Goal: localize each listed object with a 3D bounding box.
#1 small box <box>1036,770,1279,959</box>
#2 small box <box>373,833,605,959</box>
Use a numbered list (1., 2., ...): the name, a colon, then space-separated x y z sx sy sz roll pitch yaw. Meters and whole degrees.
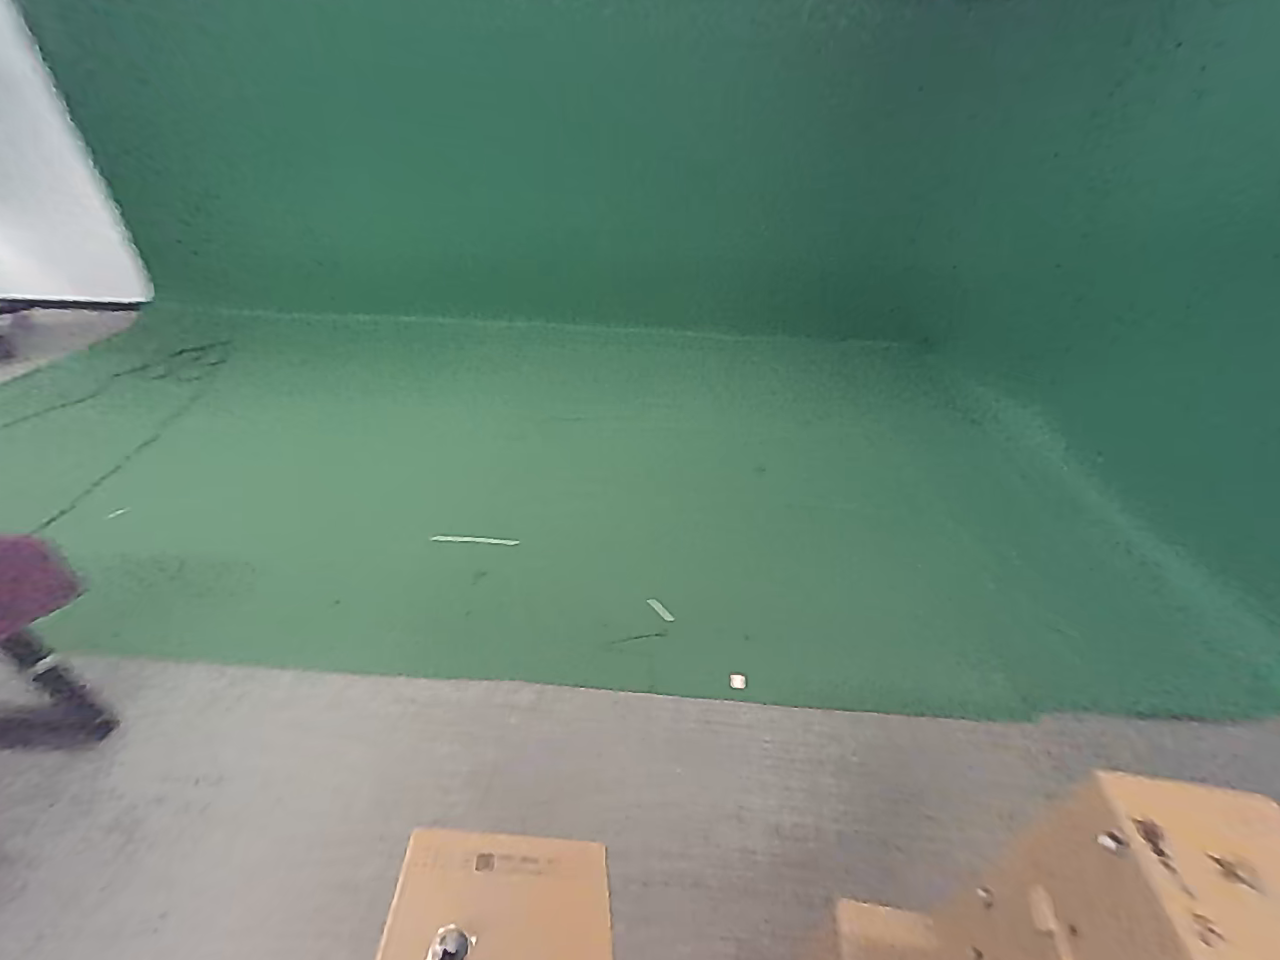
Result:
1. small box: 0.560 0.433 0.551 0.179 0.176 0.168 7 36 7
2. small box: -0.126 0.408 0.413 0.168 0.179 0.176 13 17 -12
